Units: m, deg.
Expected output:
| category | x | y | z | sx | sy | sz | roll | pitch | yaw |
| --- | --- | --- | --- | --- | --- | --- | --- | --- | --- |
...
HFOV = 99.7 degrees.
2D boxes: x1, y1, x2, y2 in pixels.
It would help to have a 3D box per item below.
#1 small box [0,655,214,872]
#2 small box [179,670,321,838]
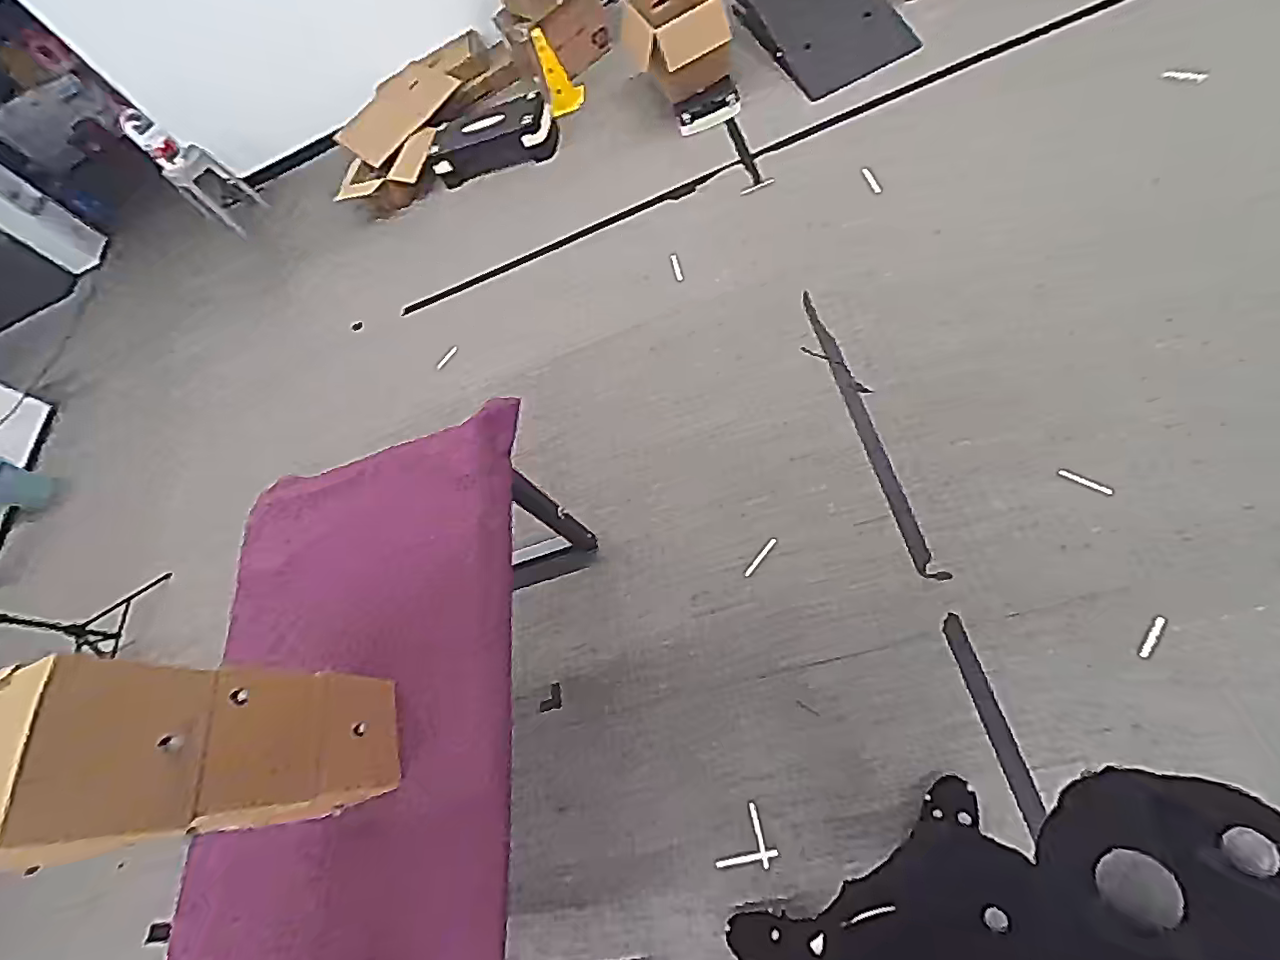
| category | x | y | z | sx | sy | sz | roll | pitch | yaw |
| --- | --- | --- | --- | --- | --- | --- | --- | --- | --- |
| small box | -0.616 | 0.312 | 0.589 | 0.168 | 0.176 | 0.179 | -21 | 59 | 11 |
| small box | -0.567 | 0.373 | 0.733 | 0.168 | 0.176 | 0.179 | -20 | 60 | 10 |
